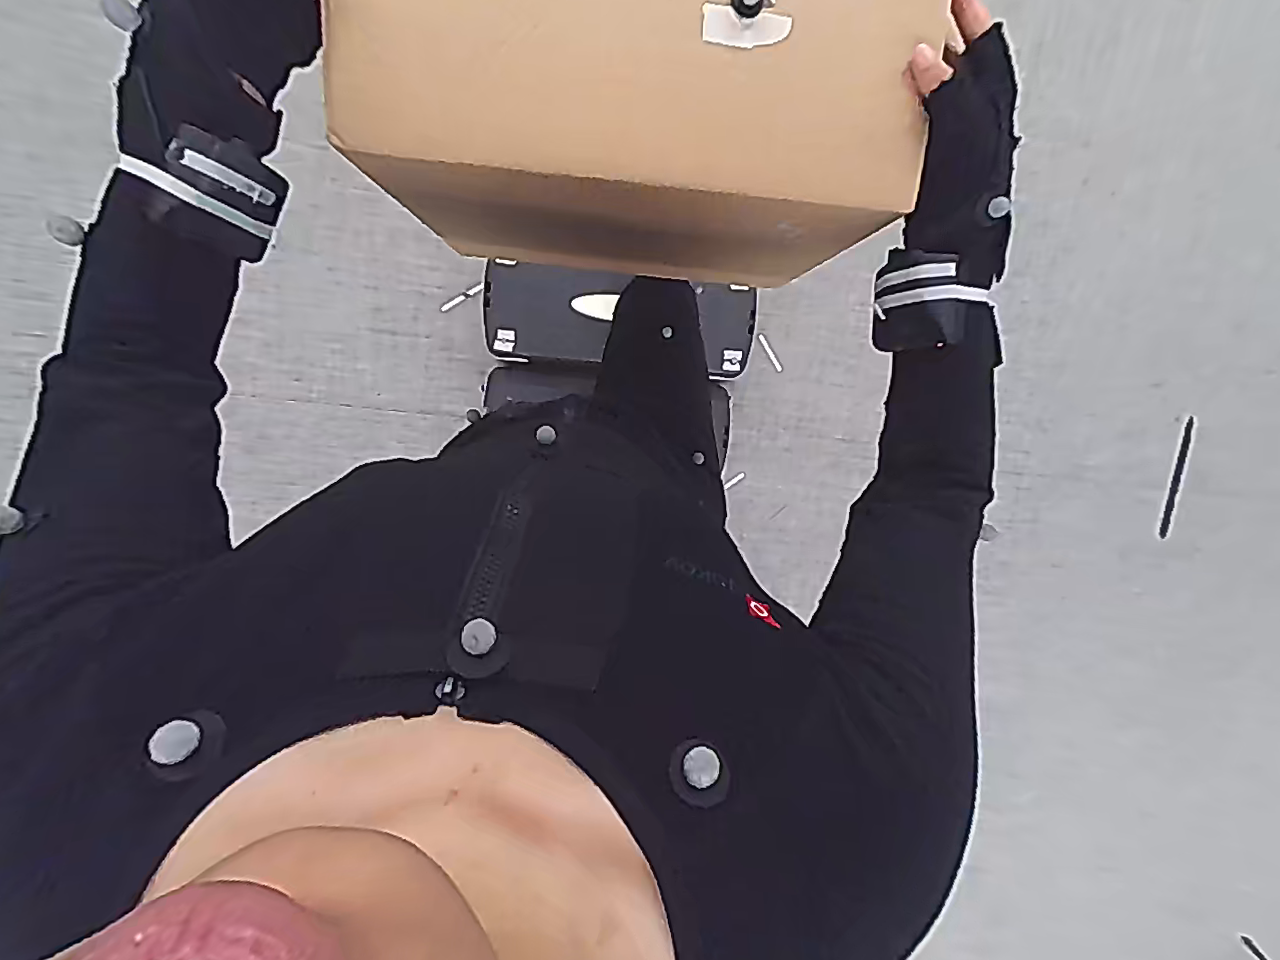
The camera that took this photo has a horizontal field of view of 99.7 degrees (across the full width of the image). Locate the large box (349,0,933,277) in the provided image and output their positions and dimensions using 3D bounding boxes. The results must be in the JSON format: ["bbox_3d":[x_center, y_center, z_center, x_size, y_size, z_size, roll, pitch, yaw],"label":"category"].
[{"bbox_3d":[-0.001,-0.394,0.506,0.408,0.320,0.320,4,100,-4],"label":"large box"}]

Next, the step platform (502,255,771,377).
[{"bbox_3d":[-0.010,-0.440,1.411,0.684,0.204,0.286,4,99,-7],"label":"step platform"}]
